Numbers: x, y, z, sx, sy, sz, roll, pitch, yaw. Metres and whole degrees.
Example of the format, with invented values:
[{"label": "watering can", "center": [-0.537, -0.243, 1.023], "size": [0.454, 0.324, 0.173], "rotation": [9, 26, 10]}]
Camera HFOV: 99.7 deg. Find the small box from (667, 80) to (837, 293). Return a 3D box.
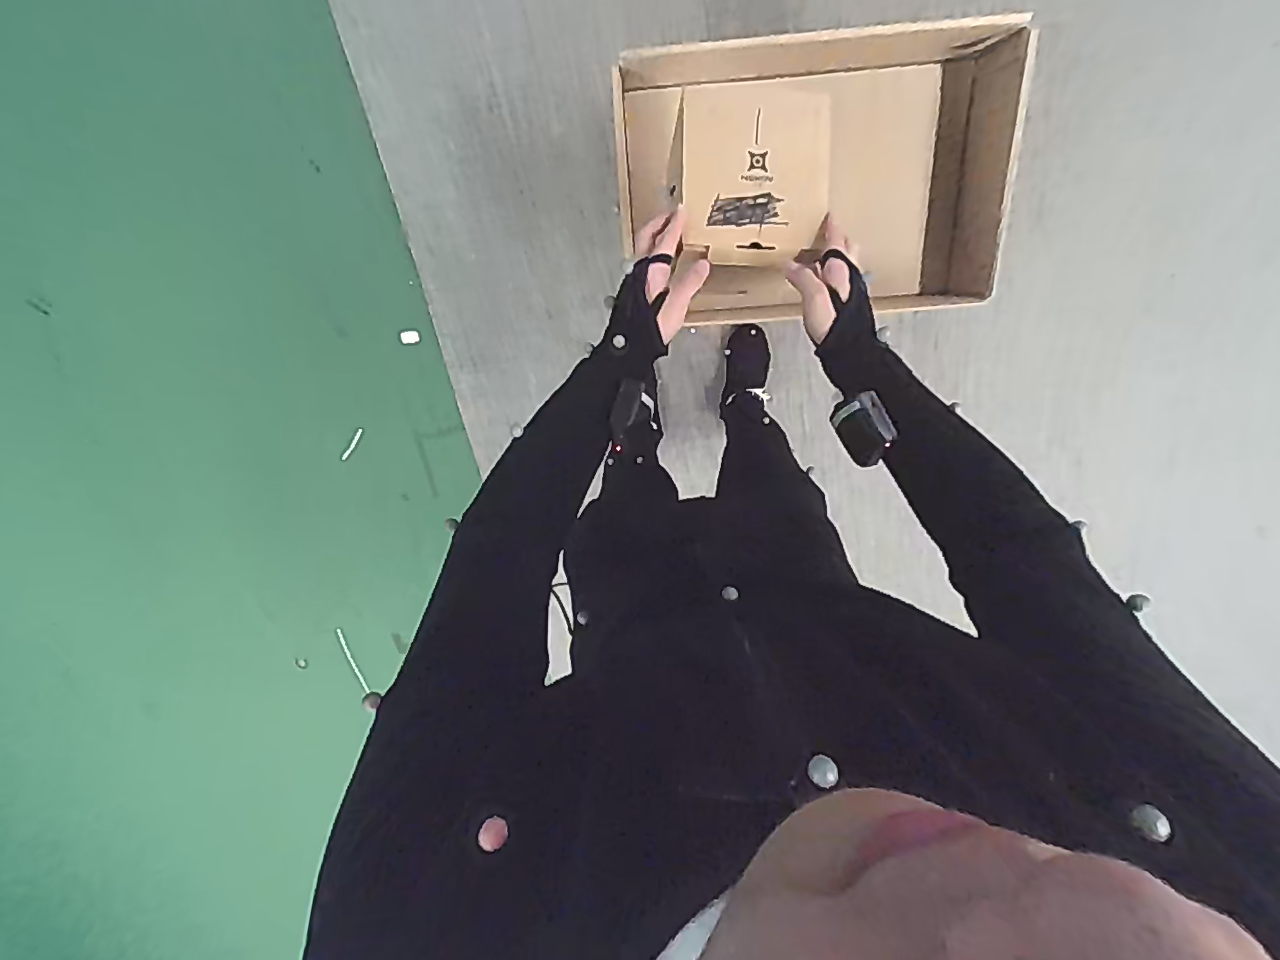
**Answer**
[{"label": "small box", "center": [0.124, -0.337, 0.655], "size": [0.168, 0.176, 0.179], "rotation": [0, 91, -3]}]
